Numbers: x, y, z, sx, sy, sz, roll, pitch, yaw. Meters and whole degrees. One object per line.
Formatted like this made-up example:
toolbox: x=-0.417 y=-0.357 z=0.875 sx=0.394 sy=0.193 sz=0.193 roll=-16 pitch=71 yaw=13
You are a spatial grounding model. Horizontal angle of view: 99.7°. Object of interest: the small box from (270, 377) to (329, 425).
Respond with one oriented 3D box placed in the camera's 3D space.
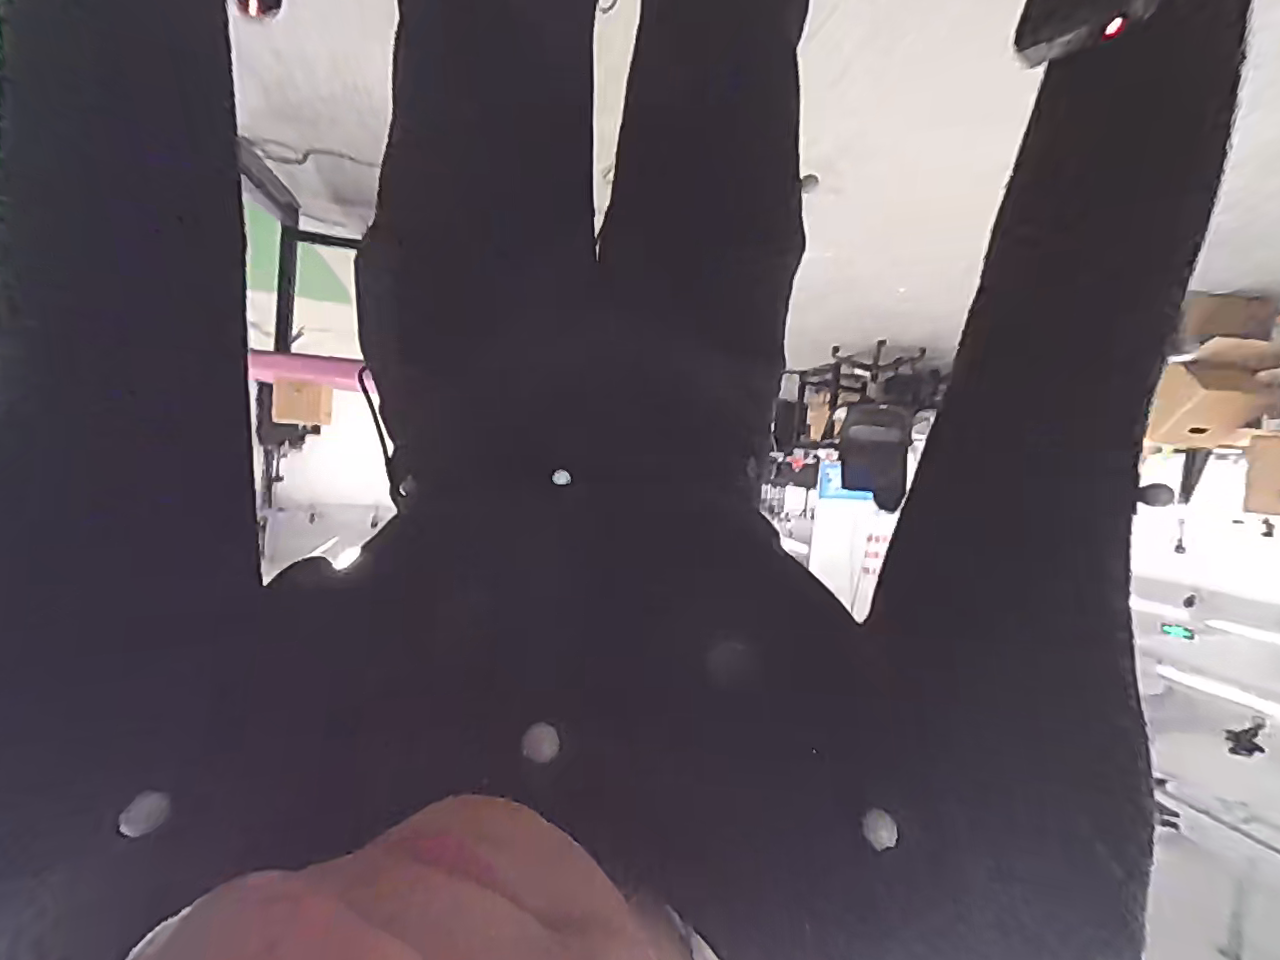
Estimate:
small box: x=-1.359 y=-0.314 z=2.168 sx=0.168 sy=0.176 sz=0.179 roll=3 pitch=-177 yaw=-17
